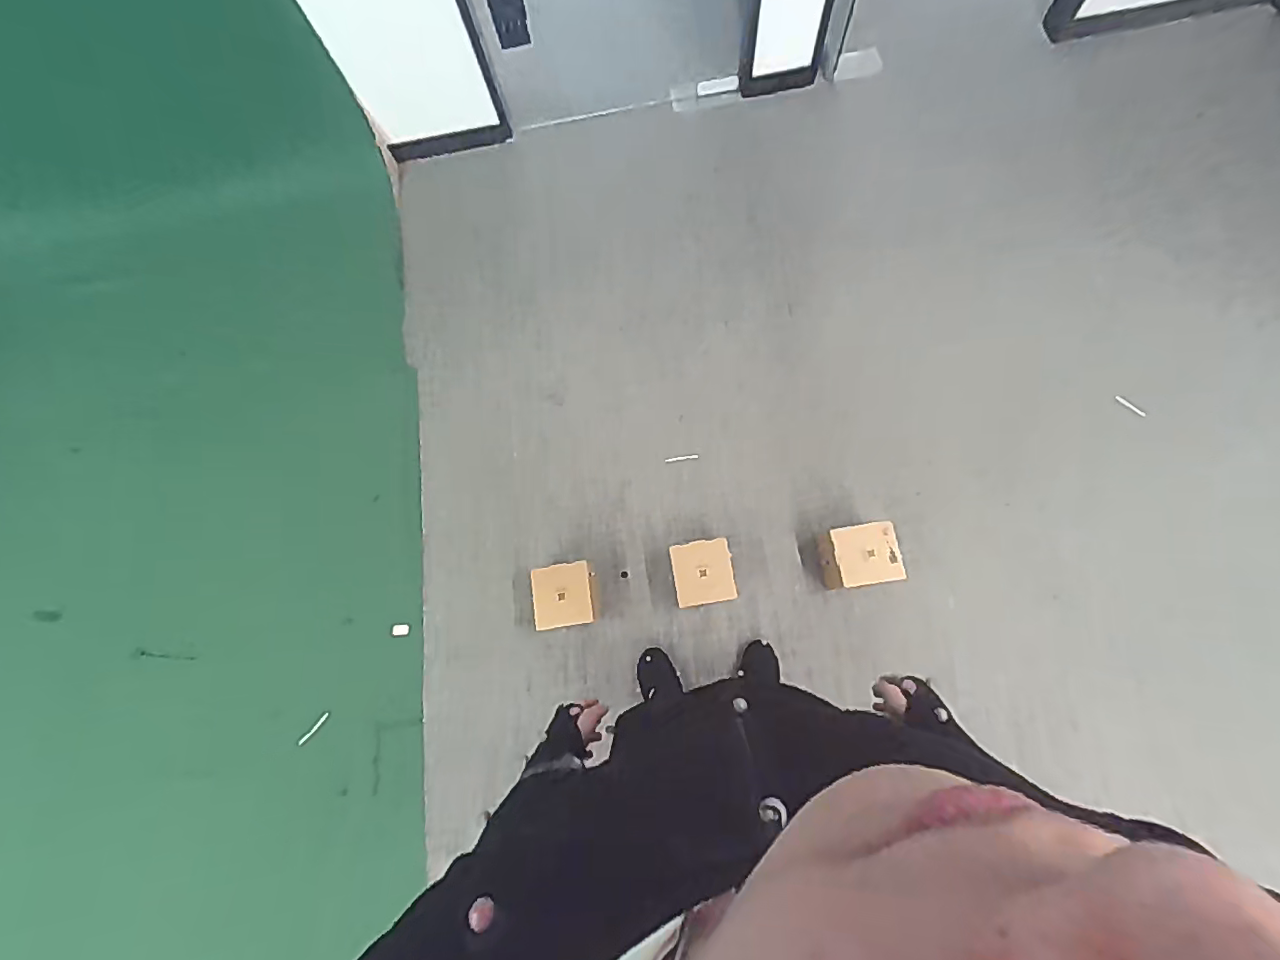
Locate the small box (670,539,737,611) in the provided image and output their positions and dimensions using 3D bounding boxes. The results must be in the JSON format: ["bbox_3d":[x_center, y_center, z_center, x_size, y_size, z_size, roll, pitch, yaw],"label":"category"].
[{"bbox_3d":[0.178,0.279,1.561,0.168,0.176,0.179,-10,74,2],"label":"small box"}]

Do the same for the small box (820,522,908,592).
[{"bbox_3d":[0.626,0.225,1.541,0.179,0.176,0.168,-9,75,2],"label":"small box"}]

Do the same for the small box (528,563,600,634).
[{"bbox_3d":[-0.216,0.347,1.572,0.168,0.176,0.179,-10,73,2],"label":"small box"}]
